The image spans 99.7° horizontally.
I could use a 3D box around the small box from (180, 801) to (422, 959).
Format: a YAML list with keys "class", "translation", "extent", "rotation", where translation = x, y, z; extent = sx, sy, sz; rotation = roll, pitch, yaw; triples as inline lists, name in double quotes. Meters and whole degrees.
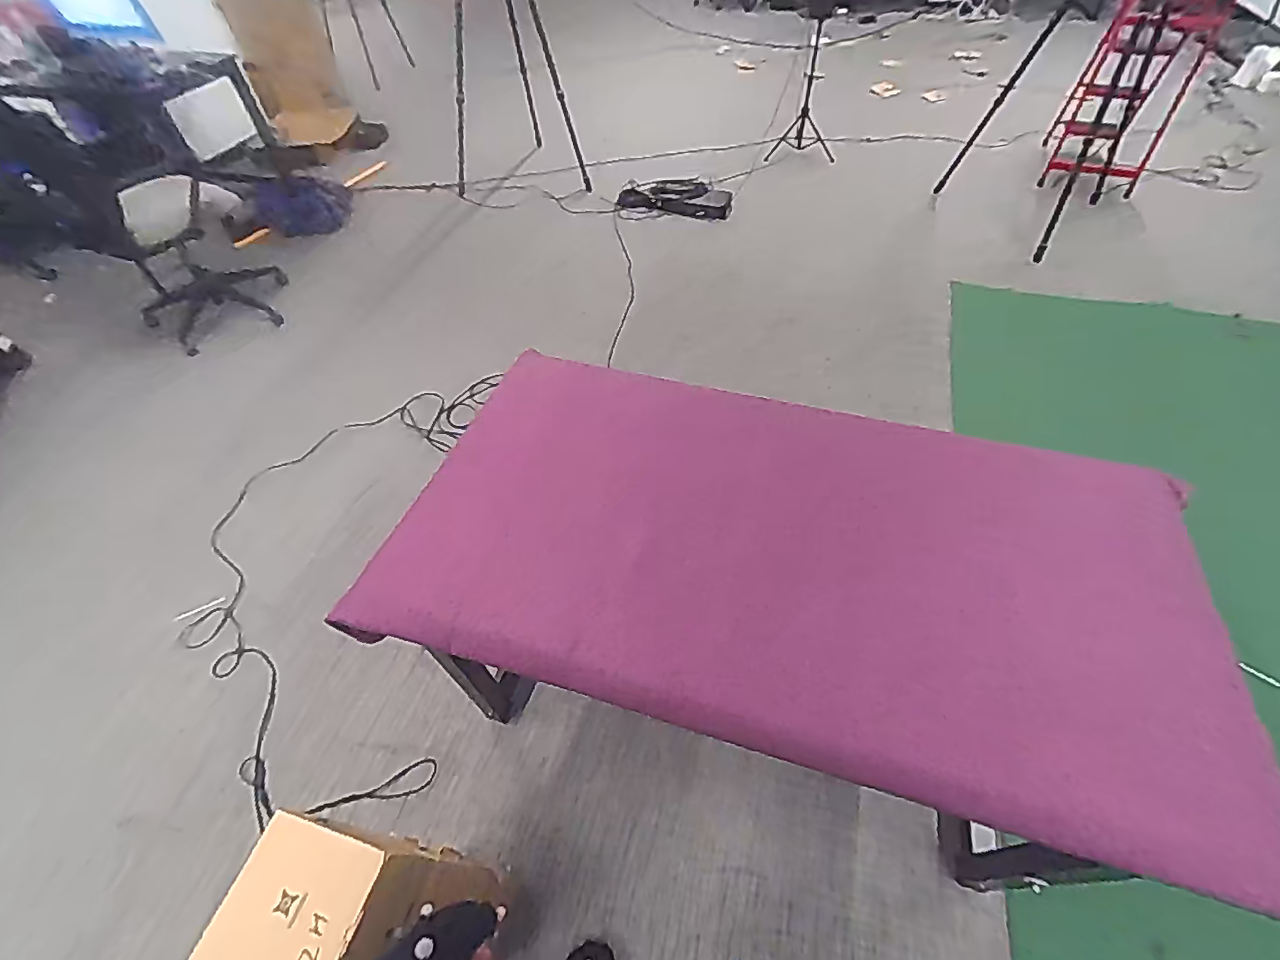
- class: "small box"
  translation: [-0.429, 0.555, 0.719]
  extent: [0.179, 0.176, 0.168]
  rotation: [13, 55, 12]

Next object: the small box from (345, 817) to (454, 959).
- class: "small box"
  translation: [-0.413, 0.659, 0.846]
  extent: [0.168, 0.176, 0.179]
  rotation: [13, 55, 12]
